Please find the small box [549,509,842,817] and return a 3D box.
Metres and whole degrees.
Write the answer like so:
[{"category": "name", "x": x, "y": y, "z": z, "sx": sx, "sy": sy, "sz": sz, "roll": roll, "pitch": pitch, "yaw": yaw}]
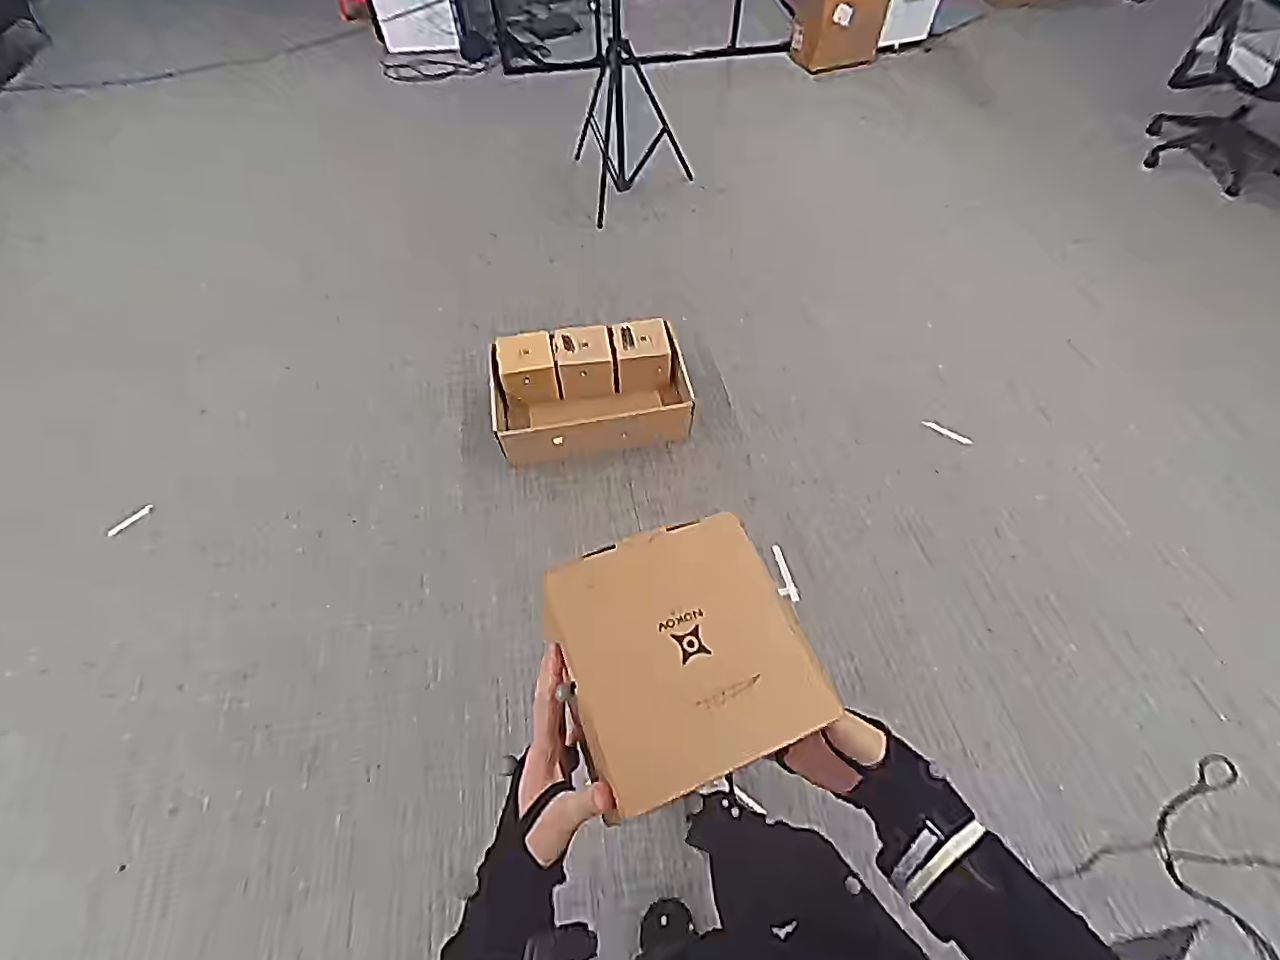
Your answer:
[{"category": "small box", "x": 0.024, "y": 0.155, "z": 0.454, "sx": 0.168, "sy": 0.176, "sz": 0.179, "roll": -15, "pitch": 60, "yaw": -18}]
